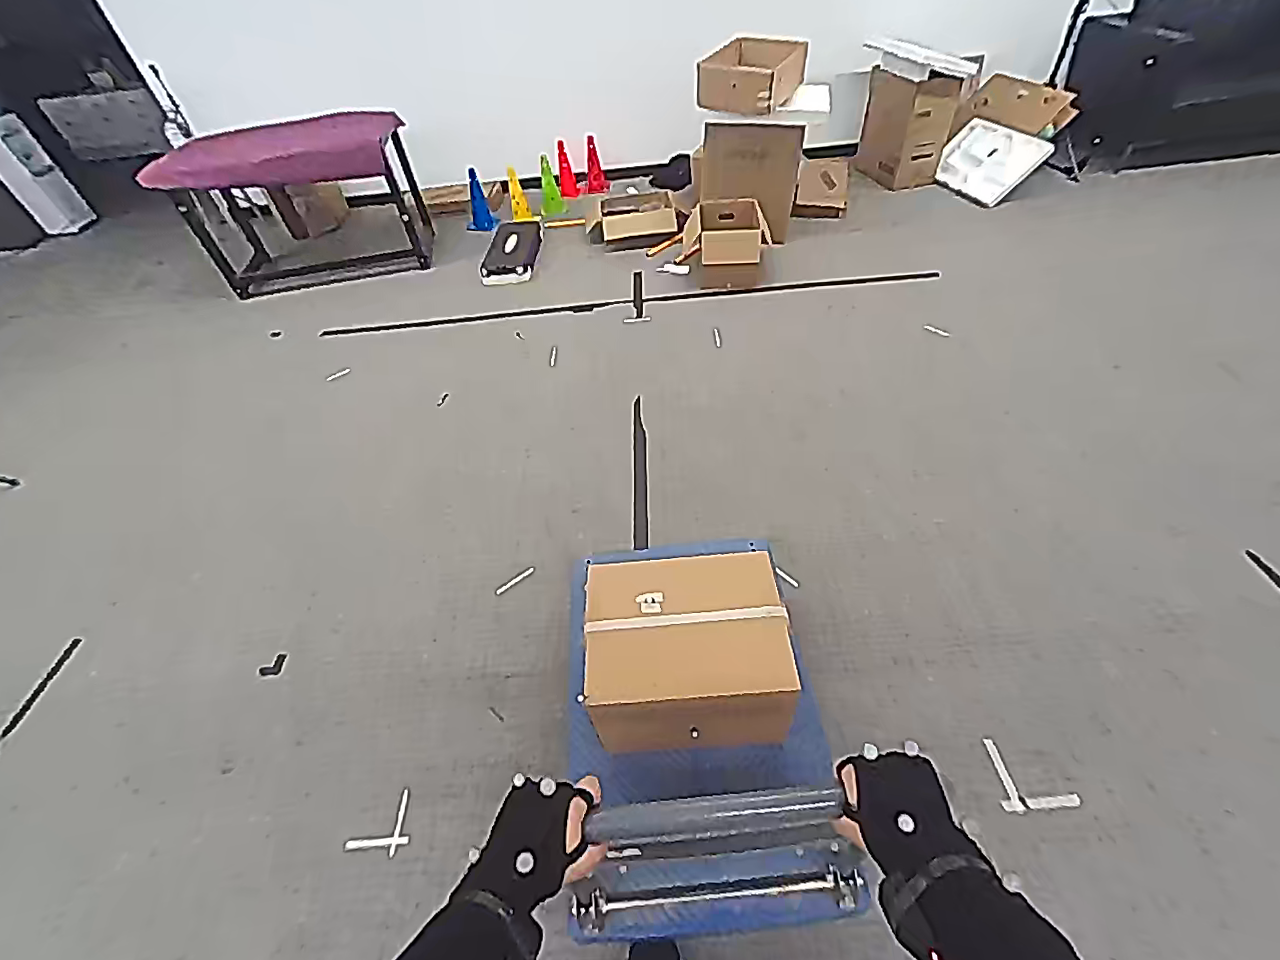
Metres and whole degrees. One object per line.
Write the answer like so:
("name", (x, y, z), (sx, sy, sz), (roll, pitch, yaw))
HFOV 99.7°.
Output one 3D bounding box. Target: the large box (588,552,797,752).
("large box", (0.107, 0.396, 1.225), (0.408, 0.320, 0.320), (-6, 46, 3))
